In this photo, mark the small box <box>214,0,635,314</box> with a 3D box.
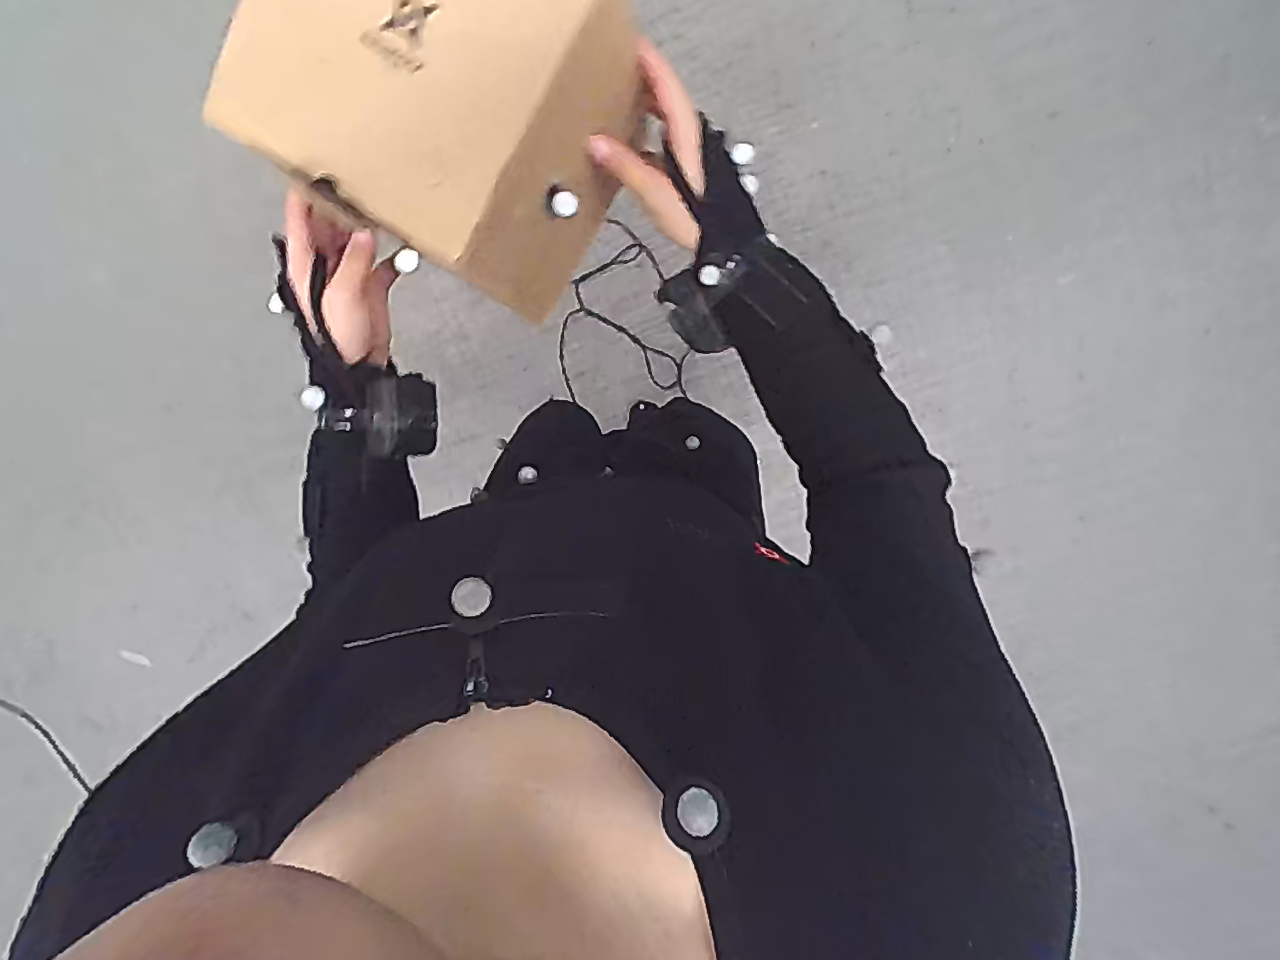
[{"bbox_3d":[-0.115,-0.234,0.360,0.168,0.176,0.179,30,99,2],"label":"small box"}]
